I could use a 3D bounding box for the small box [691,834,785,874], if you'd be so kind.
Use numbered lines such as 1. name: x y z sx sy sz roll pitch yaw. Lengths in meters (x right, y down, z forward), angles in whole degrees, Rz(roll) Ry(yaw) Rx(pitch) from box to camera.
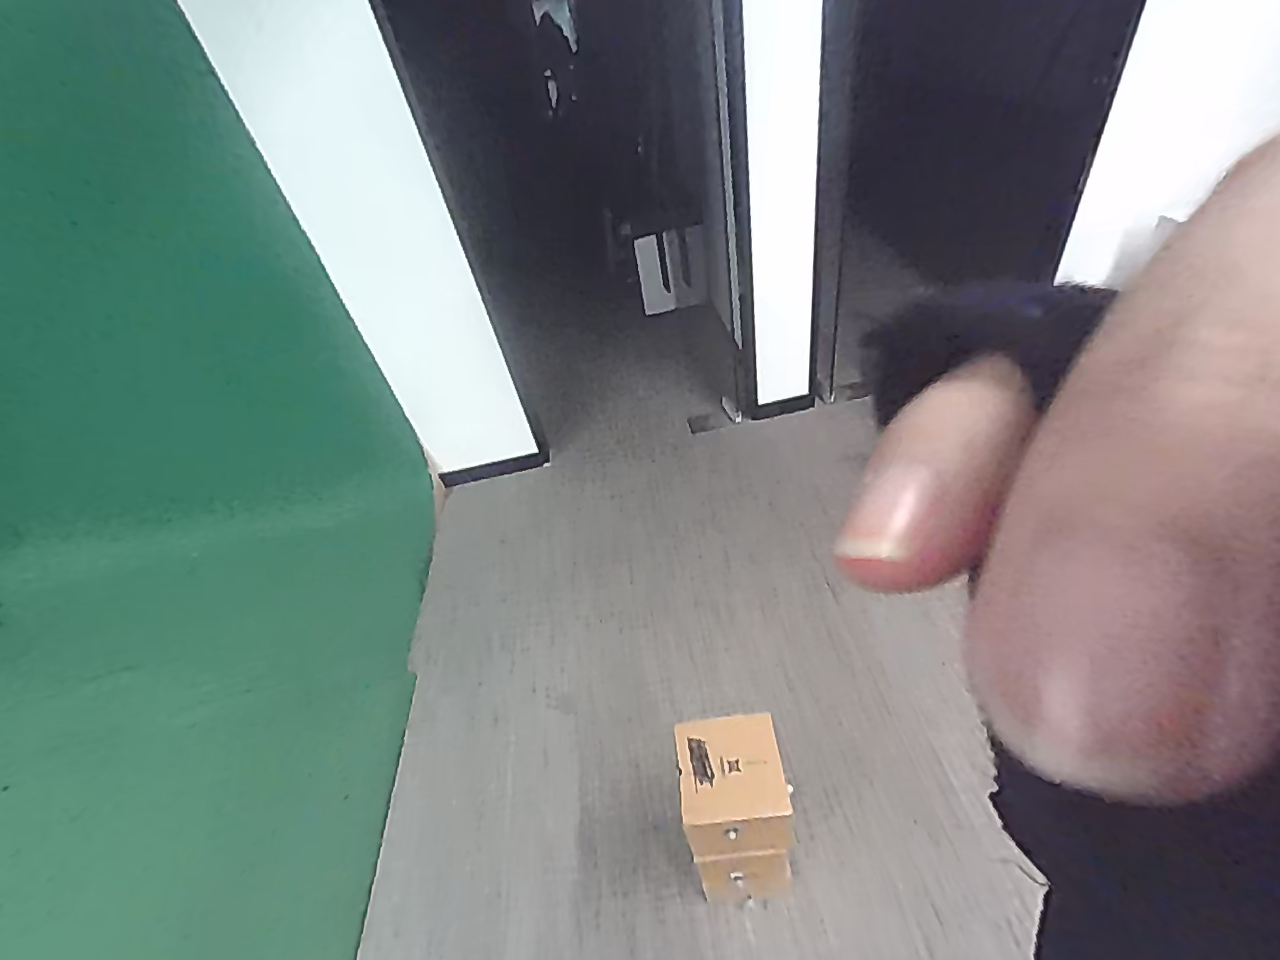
1. small box: 0.186 0.651 1.073 0.168 0.176 0.179 -11 42 6

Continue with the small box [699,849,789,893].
1. small box: 0.216 0.775 1.174 0.179 0.176 0.168 -9 41 5

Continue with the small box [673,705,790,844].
1. small box: 0.162 0.529 0.966 0.179 0.176 0.168 -9 41 6
